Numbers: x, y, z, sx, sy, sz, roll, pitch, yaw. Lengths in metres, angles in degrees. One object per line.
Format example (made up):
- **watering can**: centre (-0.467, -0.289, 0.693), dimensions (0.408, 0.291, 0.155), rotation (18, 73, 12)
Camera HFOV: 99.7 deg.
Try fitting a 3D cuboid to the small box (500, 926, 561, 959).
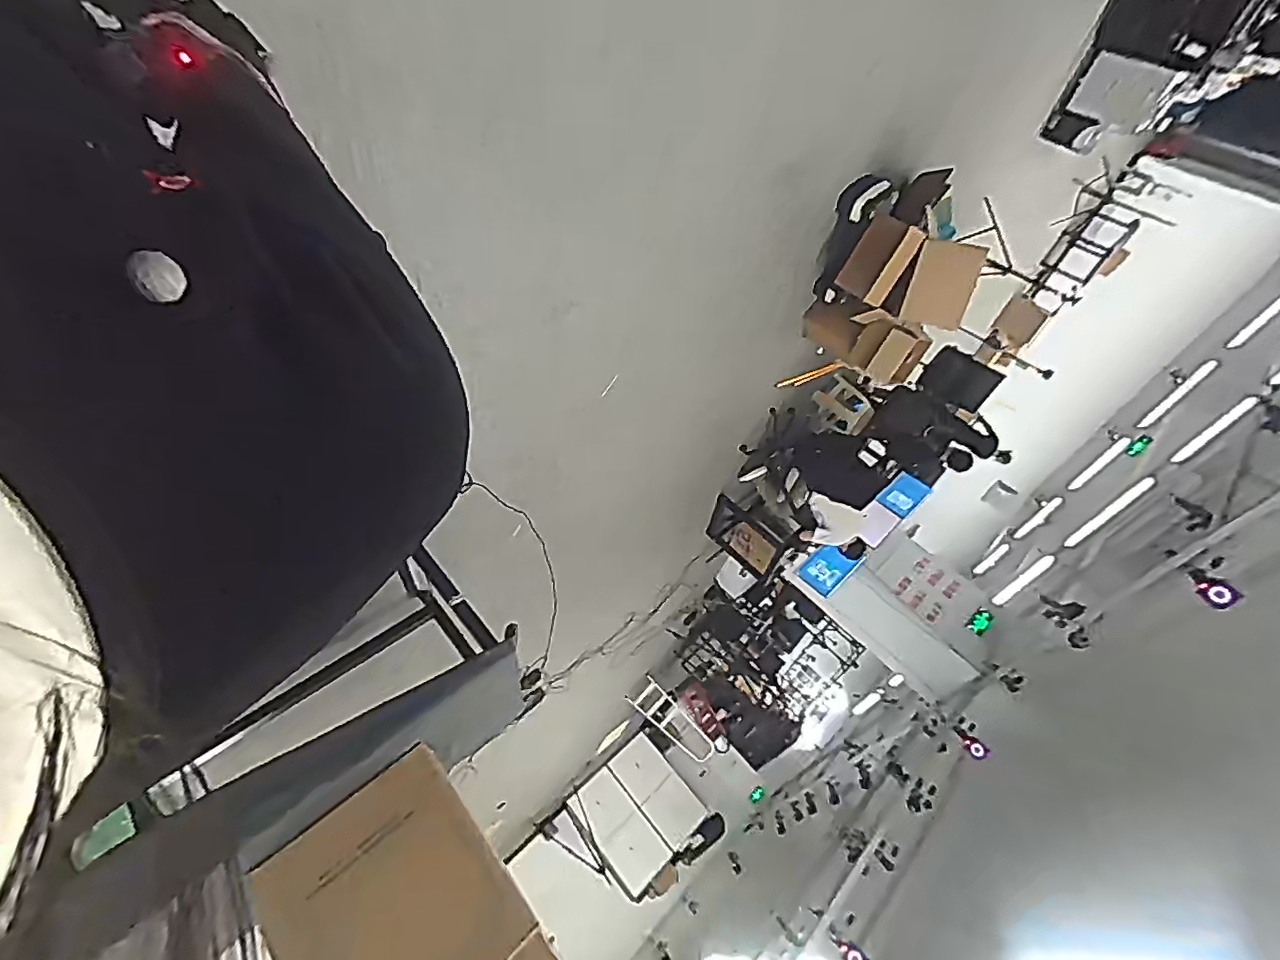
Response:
- **small box**: centre (-0.305, 1.360, 1.468), dimensions (0.168, 0.176, 0.179), rotation (-37, 152, -26)
